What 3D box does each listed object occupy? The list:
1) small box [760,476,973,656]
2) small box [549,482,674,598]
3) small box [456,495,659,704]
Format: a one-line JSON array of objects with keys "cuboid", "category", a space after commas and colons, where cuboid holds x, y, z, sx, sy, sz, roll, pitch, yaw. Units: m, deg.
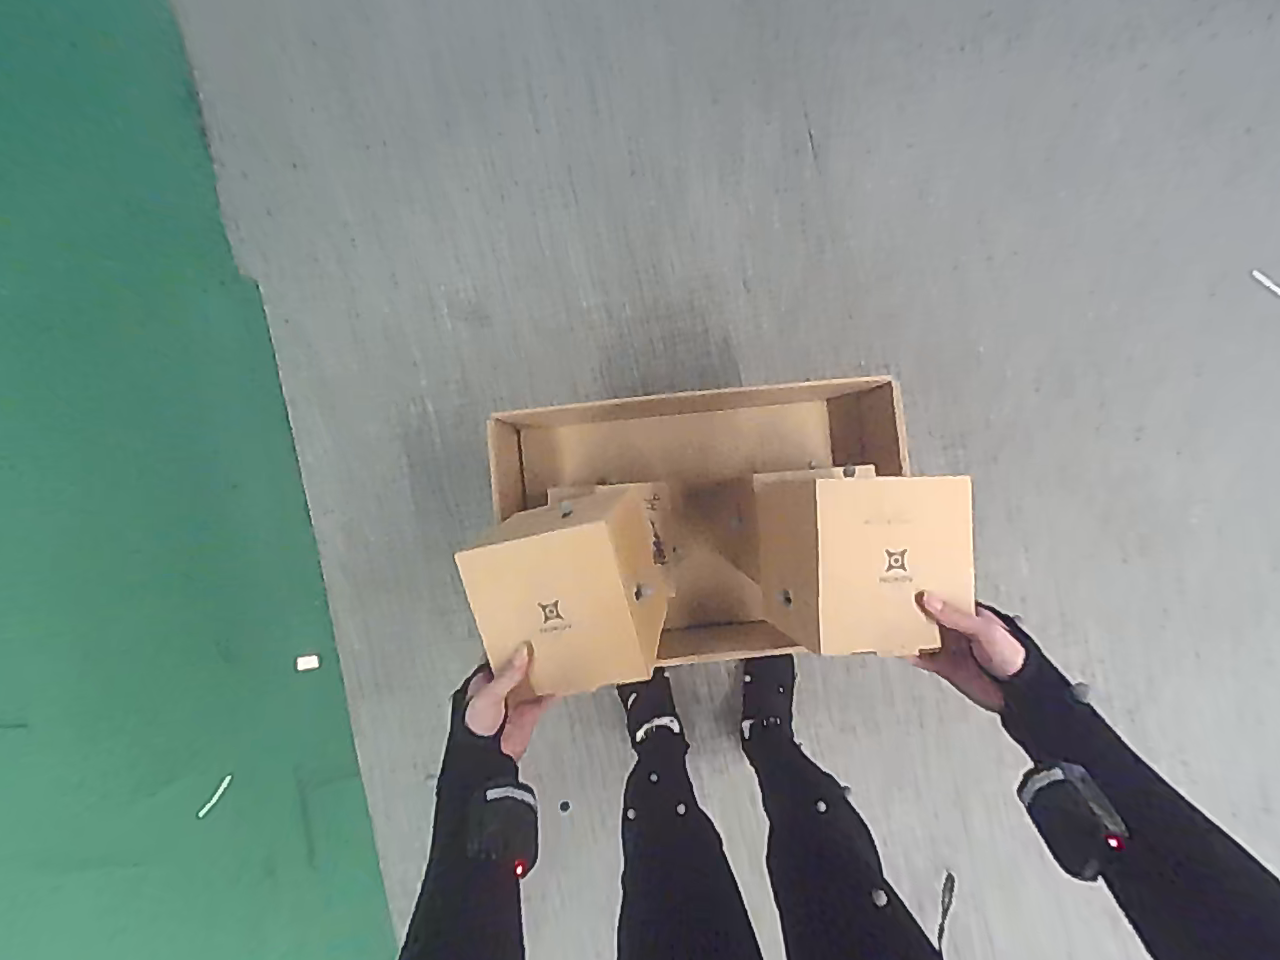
[{"cuboid": [0.240, 0.085, 0.608, 0.168, 0.176, 0.179, -1, 88, -6], "category": "small box"}, {"cuboid": [-0.037, 0.091, 0.849, 0.179, 0.176, 0.168, -3, 88, 2], "category": "small box"}, {"cuboid": [-0.081, 0.124, 0.628, 0.168, 0.176, 0.179, -14, 99, 10], "category": "small box"}]
